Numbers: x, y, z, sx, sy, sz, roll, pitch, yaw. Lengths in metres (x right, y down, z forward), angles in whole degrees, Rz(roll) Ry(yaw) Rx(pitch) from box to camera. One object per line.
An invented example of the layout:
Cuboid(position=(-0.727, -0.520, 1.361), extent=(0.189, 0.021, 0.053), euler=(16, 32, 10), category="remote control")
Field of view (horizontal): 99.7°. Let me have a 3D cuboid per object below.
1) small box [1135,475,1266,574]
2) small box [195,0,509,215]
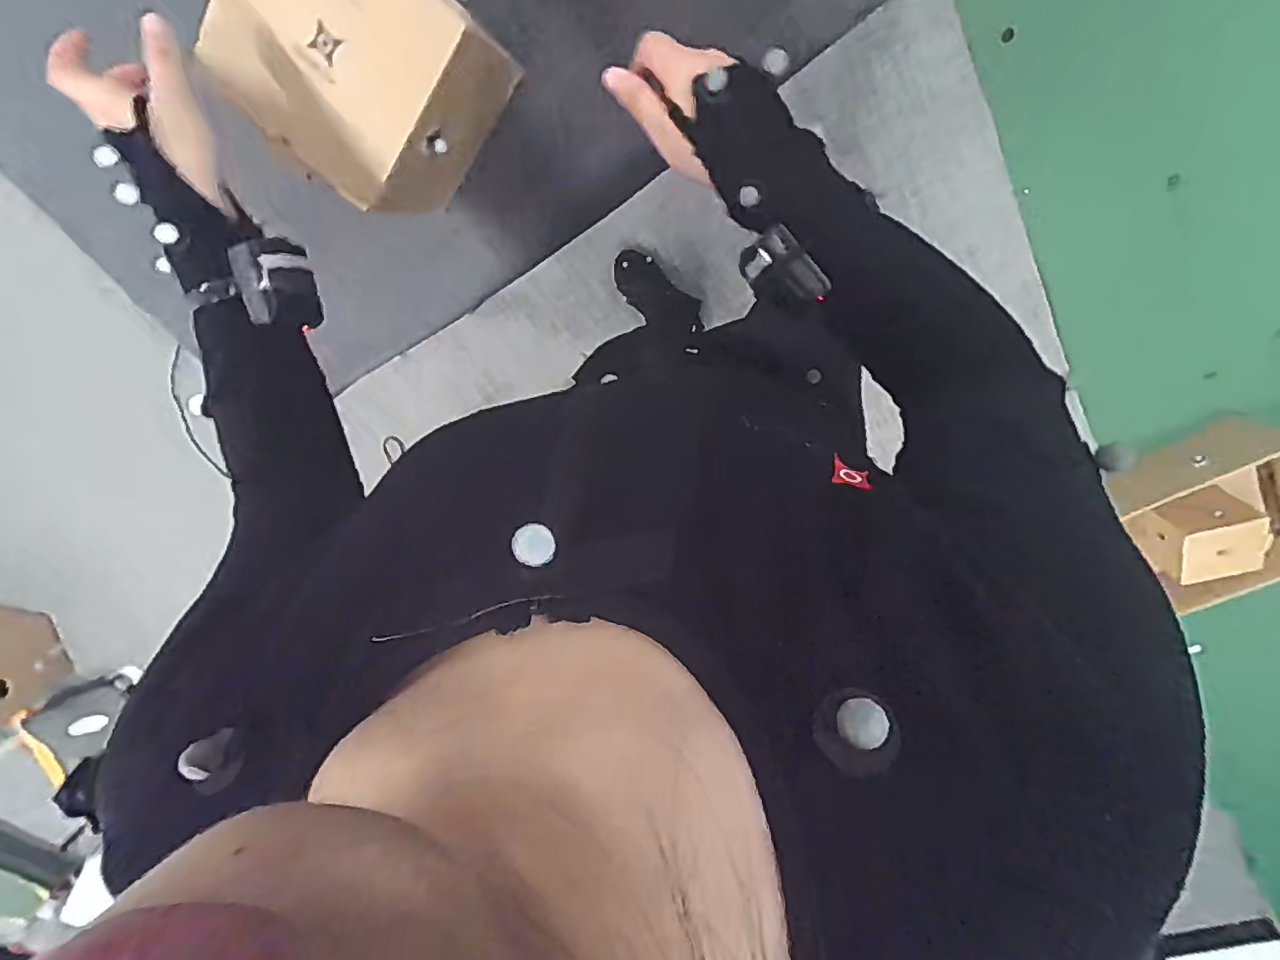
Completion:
Cuboid(position=(1.435, 0.112, 1.400), extent=(0.179, 0.176, 0.168), euler=(-18, 116, 15), category="small box")
Cuboid(position=(-0.246, -0.376, 0.502), extent=(0.168, 0.176, 0.179), euler=(37, 114, -15), category="small box")
